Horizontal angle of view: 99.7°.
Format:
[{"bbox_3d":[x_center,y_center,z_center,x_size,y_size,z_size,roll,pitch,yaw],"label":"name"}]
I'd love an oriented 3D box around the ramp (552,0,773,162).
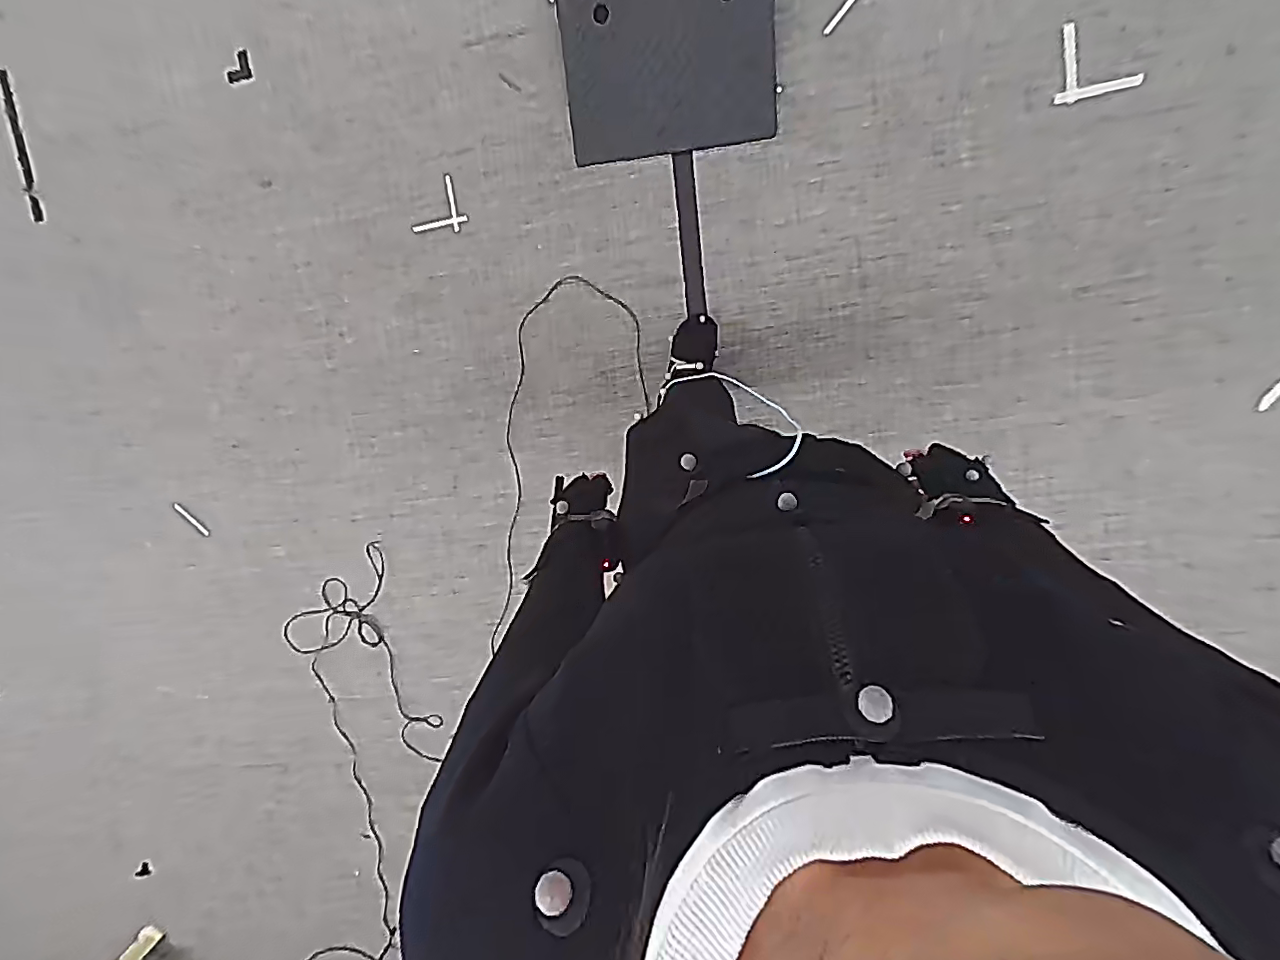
[{"bbox_3d":[0.023,-1.273,1.146,0.509,0.206,0.991,-6,100,7],"label":"ramp"}]
